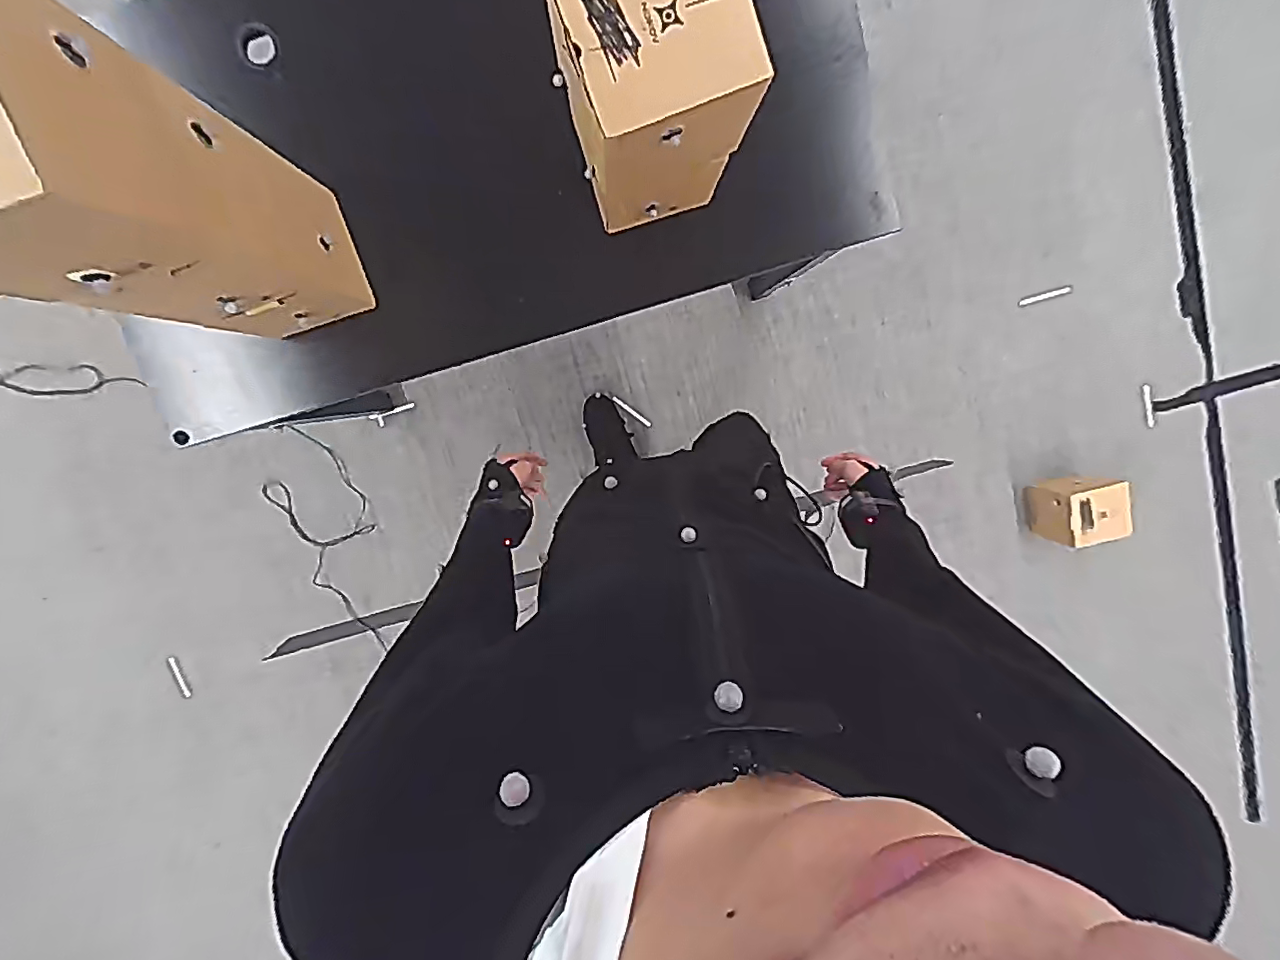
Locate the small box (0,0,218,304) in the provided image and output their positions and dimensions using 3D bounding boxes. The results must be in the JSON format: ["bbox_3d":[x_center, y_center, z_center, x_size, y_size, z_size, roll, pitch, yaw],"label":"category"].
[{"bbox_3d":[-0.488,-0.255,0.415,0.168,0.176,0.179,-18,100,2],"label":"small box"}]

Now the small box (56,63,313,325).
[{"bbox_3d":[-0.496,-0.281,0.575,0.168,0.176,0.179,-18,100,1],"label":"small box"}]

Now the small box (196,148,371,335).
[{"bbox_3d":[-0.504,-0.306,0.738,0.168,0.176,0.179,-19,100,0],"label":"small box"}]

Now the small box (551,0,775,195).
[{"bbox_3d":[0.017,-0.436,0.574,0.179,0.176,0.168,-21,100,0],"label":"small box"}]

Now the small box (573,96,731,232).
[{"bbox_3d":[0.008,-0.468,0.735,0.168,0.176,0.179,-17,100,0],"label":"small box"}]
